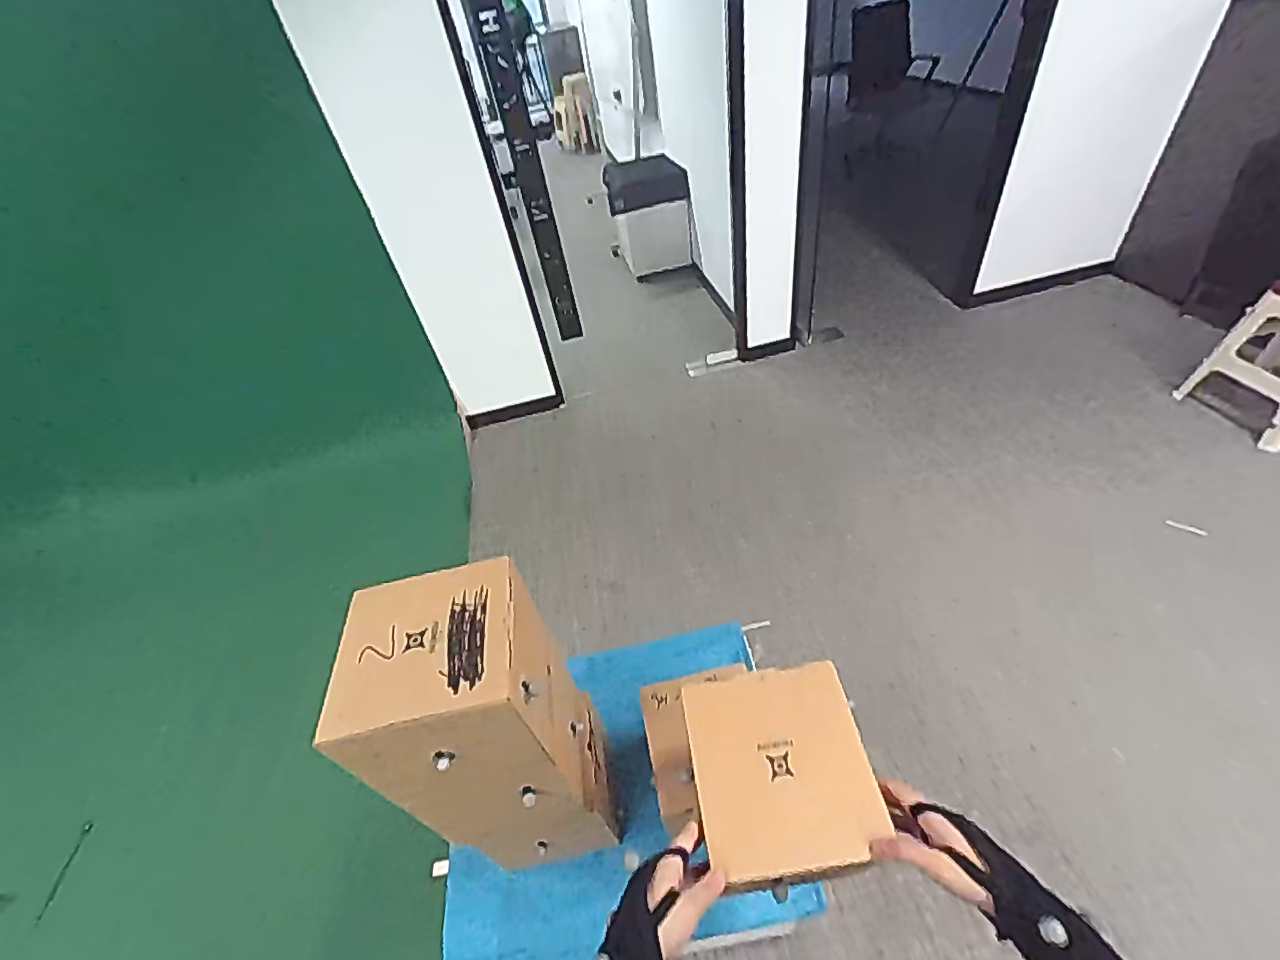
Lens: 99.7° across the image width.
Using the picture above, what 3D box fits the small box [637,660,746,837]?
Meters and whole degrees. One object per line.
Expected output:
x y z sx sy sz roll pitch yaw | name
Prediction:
0.100 0.396 0.787 0.168 0.176 0.179 -13 43 -1 | small box

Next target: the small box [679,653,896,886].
0.141 0.311 0.573 0.168 0.176 0.179 -10 48 1 | small box

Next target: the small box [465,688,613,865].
-0.140 0.437 0.795 0.179 0.176 0.168 -13 42 -2 | small box

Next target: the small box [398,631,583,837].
-0.172 0.321 0.682 0.179 0.176 0.168 -13 42 -2 | small box
